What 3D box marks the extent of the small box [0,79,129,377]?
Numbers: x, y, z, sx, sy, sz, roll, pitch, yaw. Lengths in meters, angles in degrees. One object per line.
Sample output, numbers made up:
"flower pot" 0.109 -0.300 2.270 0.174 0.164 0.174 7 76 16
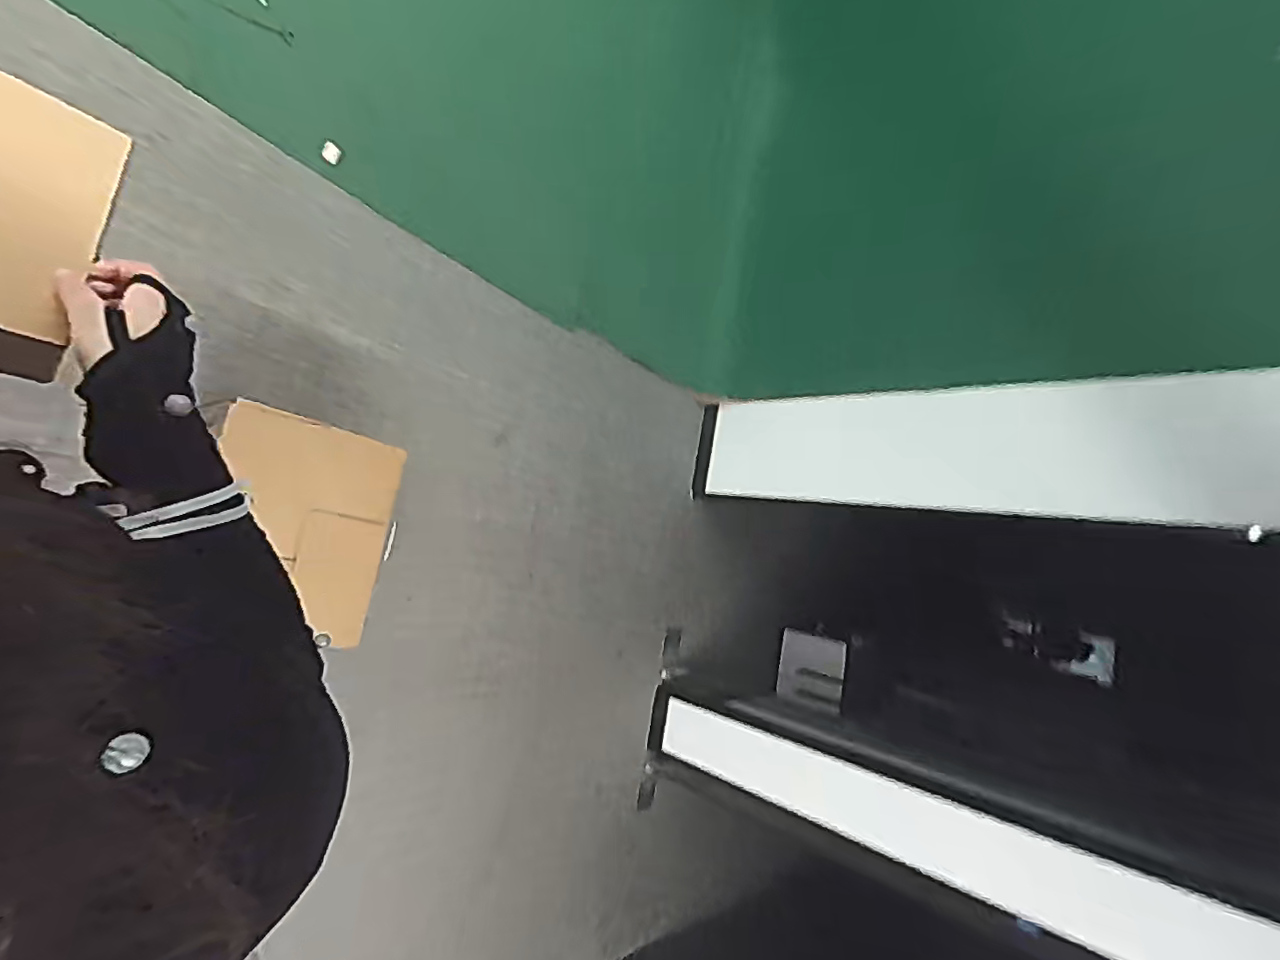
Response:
"small box" -0.512 -0.189 0.389 0.168 0.176 0.179 16 78 -48
